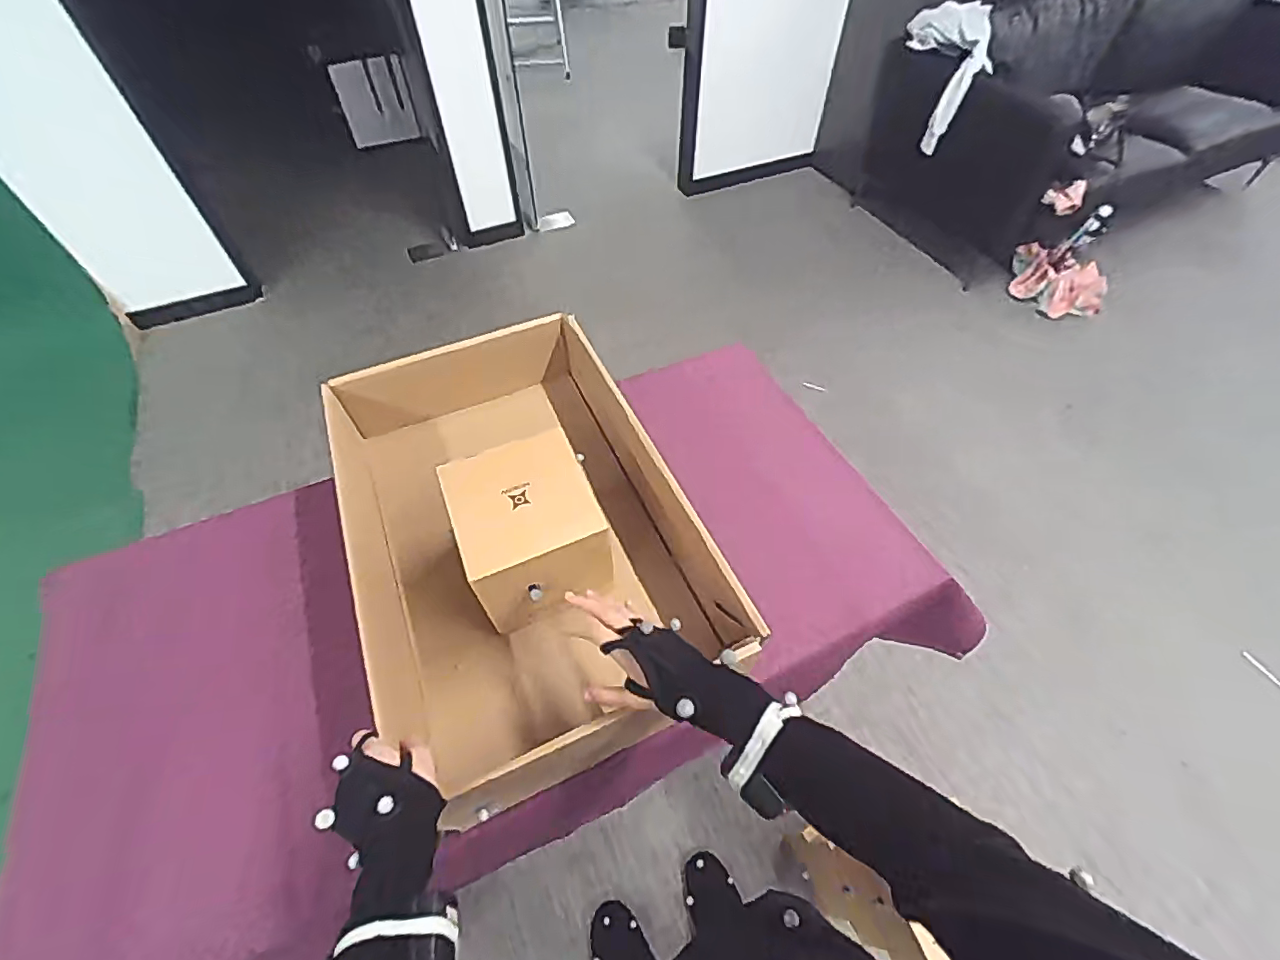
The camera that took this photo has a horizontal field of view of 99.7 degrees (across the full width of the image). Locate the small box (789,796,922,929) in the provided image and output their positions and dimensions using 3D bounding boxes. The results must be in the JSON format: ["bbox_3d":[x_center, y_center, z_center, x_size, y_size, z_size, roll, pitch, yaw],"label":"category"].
[{"bbox_3d":[0.443,0.802,1.144,0.179,0.176,0.168,-23,57,-15],"label":"small box"}]

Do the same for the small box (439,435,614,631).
[{"bbox_3d":[-0.141,0.078,0.710,0.168,0.176,0.179,-21,55,-13],"label":"small box"}]
